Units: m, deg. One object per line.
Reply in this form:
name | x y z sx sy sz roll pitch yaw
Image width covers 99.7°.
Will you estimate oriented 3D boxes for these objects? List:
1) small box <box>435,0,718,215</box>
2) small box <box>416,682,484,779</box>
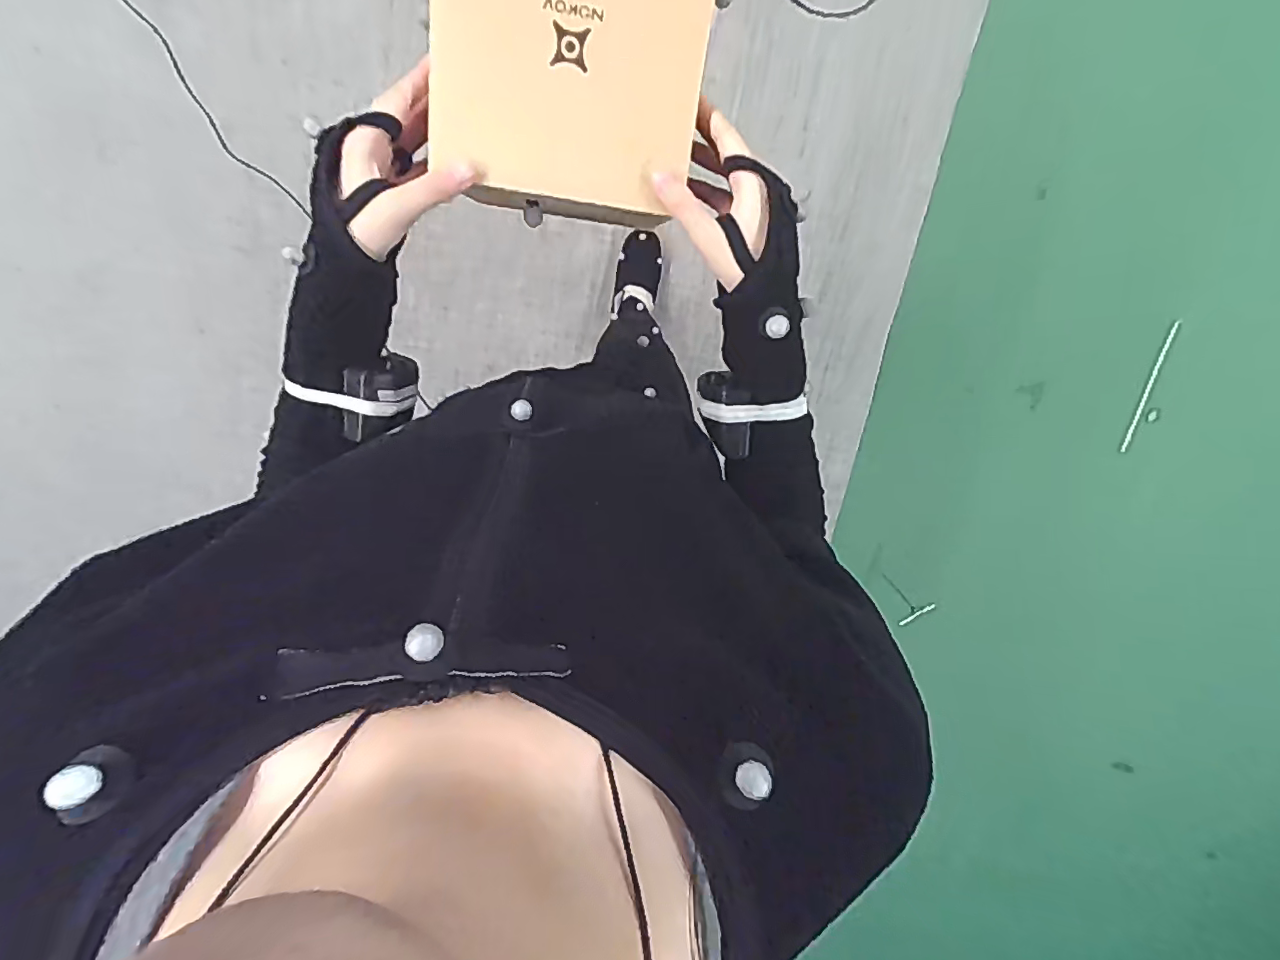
small box | -0.043 -0.305 0.394 0.168 0.176 0.179 5 110 -8
small box | -0.574 0.737 1.599 0.168 0.176 0.179 19 103 -9
